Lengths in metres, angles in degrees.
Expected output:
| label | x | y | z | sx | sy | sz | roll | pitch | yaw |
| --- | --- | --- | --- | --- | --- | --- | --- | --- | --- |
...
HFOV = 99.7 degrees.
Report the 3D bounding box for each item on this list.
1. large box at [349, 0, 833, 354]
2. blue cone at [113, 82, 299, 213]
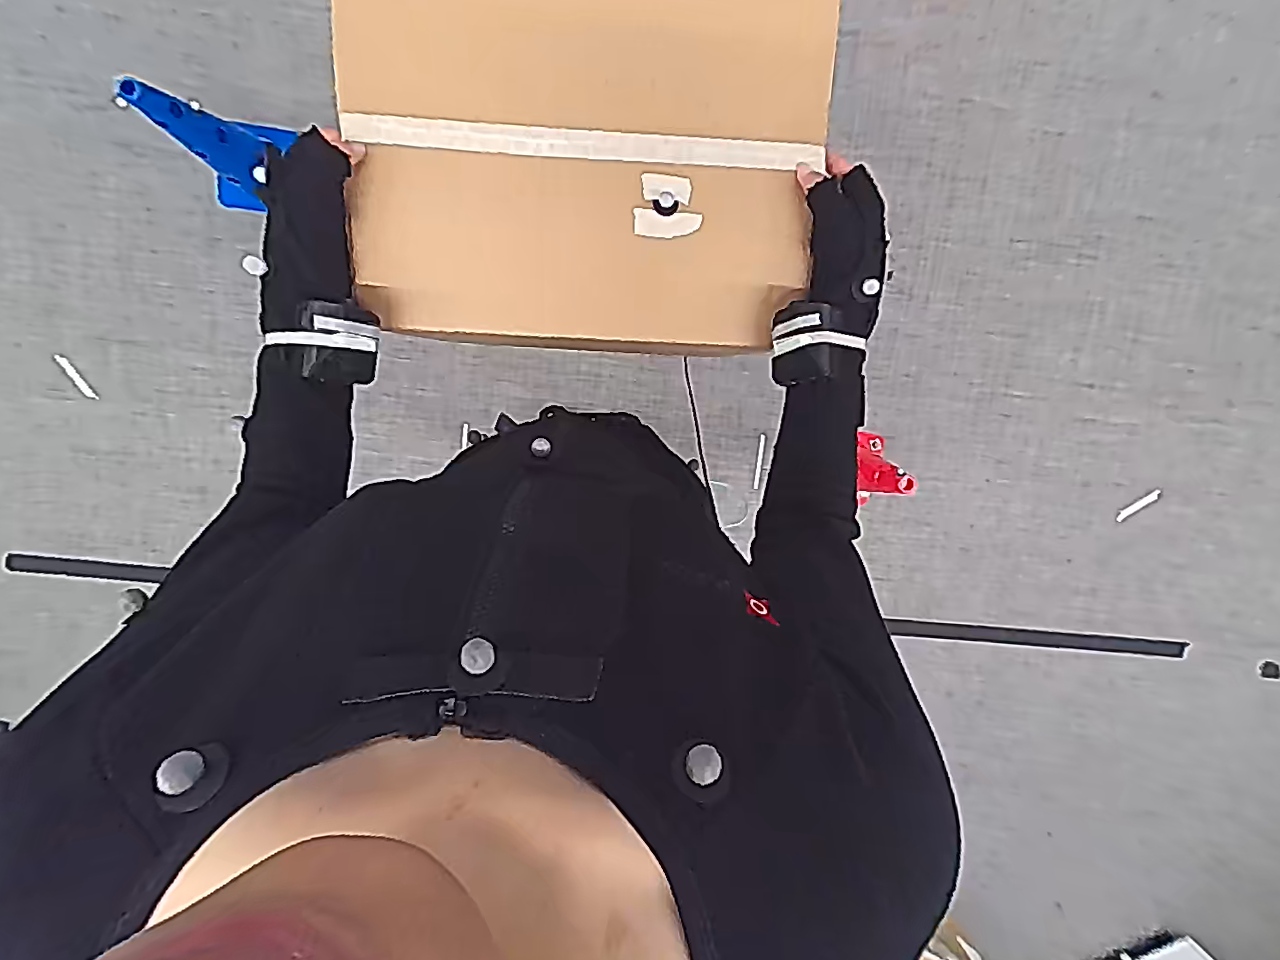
| label | x | y | z | sx | sy | sz | roll | pitch | yaw |
| --- | --- | --- | --- | --- | --- | --- | --- | --- | --- |
| large box | -0.050 | -0.311 | 0.608 | 0.408 | 0.320 | 0.320 | 2 | 102 | -4 |
| blue cone | -0.945 | -0.744 | 1.179 | 0.192 | 0.380 | 0.193 | 9 | 99 | -1 |
